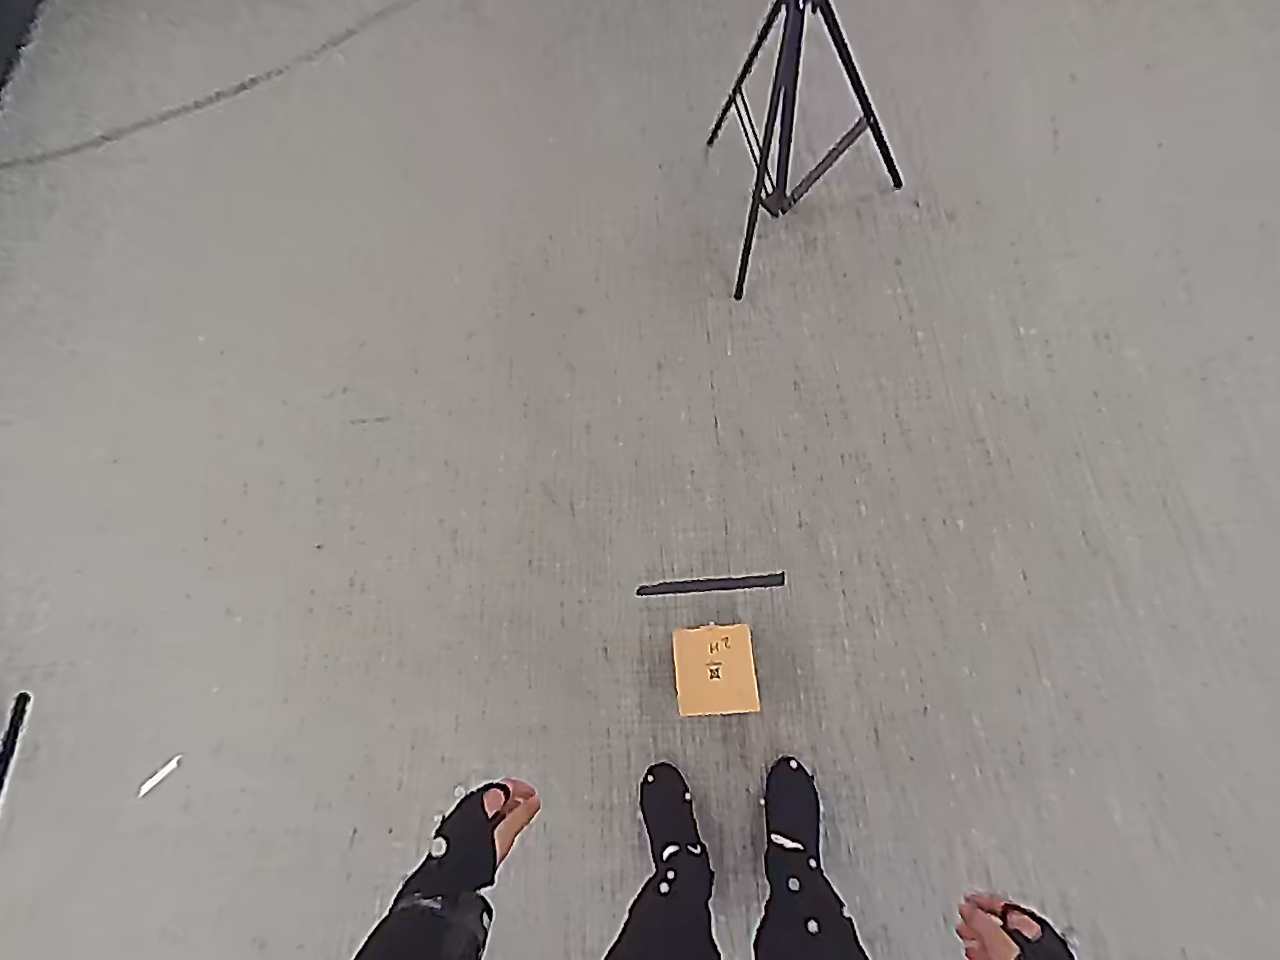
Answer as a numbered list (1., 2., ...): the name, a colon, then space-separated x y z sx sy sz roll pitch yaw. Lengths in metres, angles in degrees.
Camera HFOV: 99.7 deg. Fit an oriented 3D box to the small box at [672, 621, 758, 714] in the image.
1. small box: 0.167 0.409 1.191 0.168 0.176 0.179 -7 71 8
